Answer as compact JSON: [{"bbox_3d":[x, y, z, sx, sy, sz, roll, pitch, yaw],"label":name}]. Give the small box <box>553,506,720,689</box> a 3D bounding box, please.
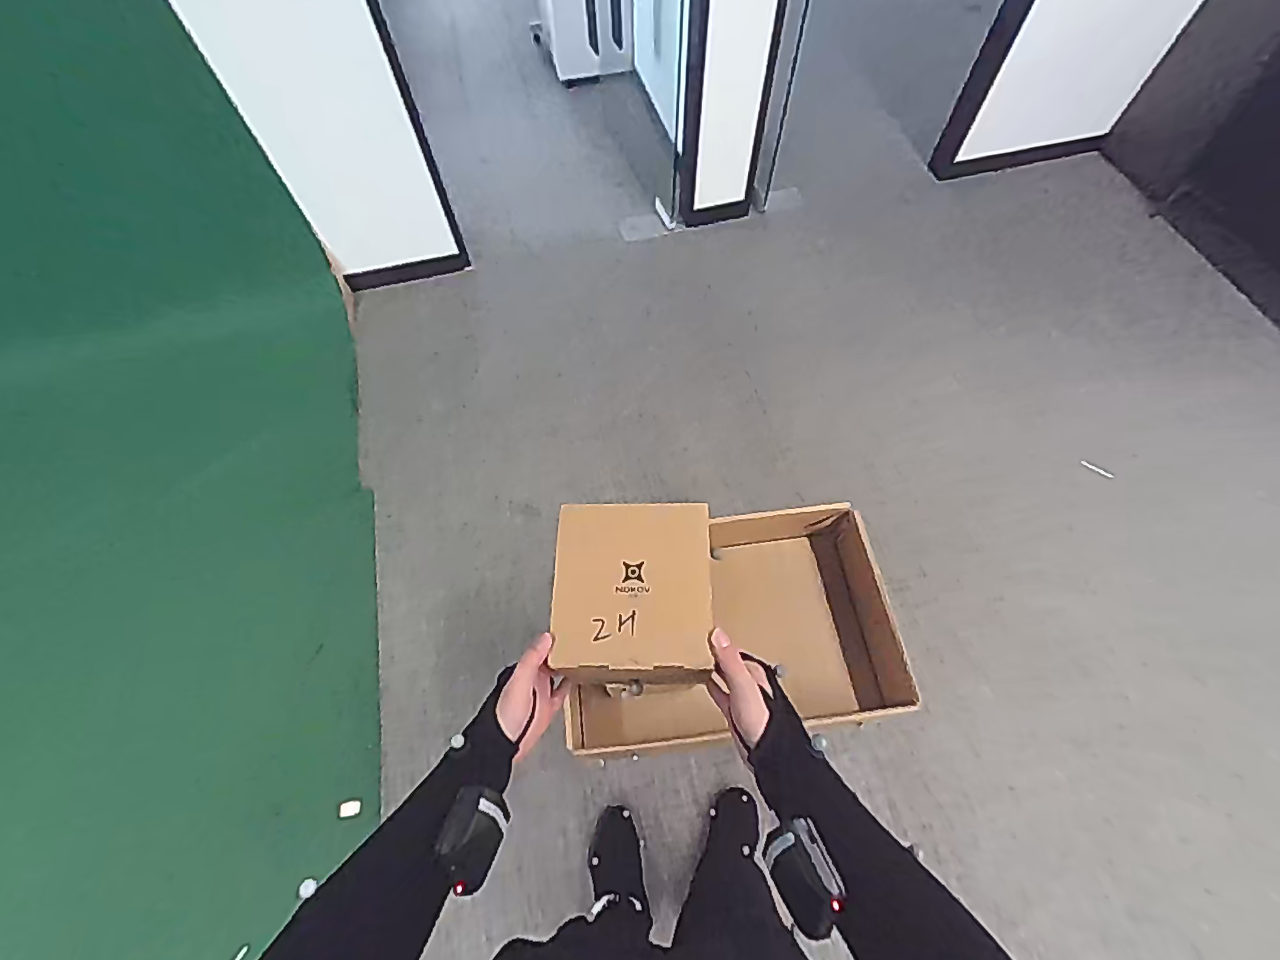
[{"bbox_3d":[0.002,0.142,0.629,0.168,0.176,0.179,0,66,3],"label":"small box"}]
